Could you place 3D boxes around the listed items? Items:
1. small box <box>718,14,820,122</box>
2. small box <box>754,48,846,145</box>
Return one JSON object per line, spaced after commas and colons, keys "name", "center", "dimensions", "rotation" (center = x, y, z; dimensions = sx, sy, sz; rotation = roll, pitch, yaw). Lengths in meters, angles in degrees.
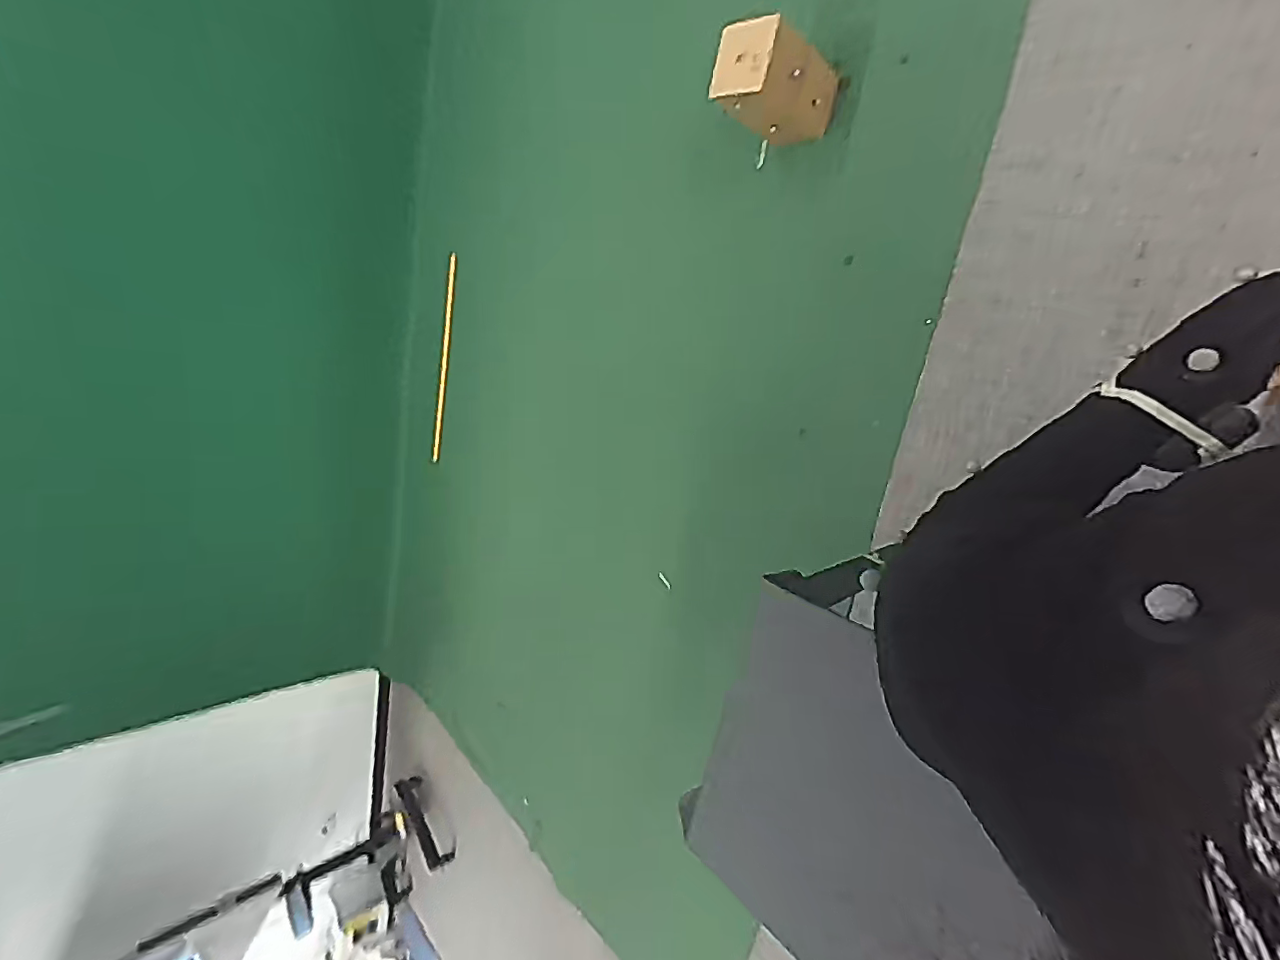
{"name": "small box", "center": [0.340, -1.074, 1.428], "dimensions": [0.179, 0.176, 0.168], "rotation": [27, 112, 41]}
{"name": "small box", "center": [0.458, -1.085, 1.543], "dimensions": [0.179, 0.176, 0.168], "rotation": [25, 110, 43]}
